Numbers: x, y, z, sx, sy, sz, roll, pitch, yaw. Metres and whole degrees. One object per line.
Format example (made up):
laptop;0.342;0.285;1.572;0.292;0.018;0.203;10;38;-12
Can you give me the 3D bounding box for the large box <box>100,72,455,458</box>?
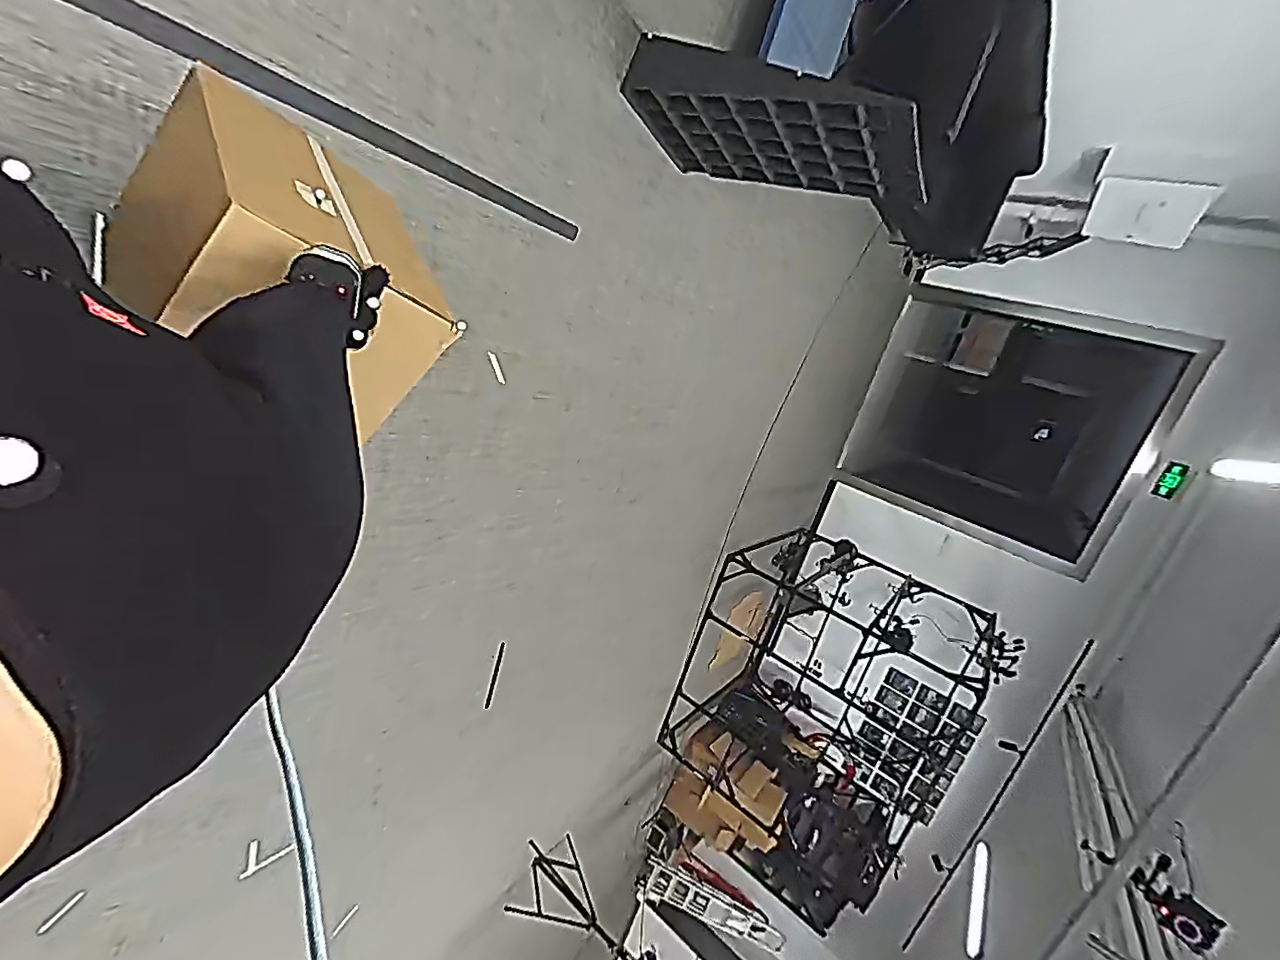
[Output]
large box;-0.565;-0.305;0.843;0.320;0.408;0.320;-41;152;17
